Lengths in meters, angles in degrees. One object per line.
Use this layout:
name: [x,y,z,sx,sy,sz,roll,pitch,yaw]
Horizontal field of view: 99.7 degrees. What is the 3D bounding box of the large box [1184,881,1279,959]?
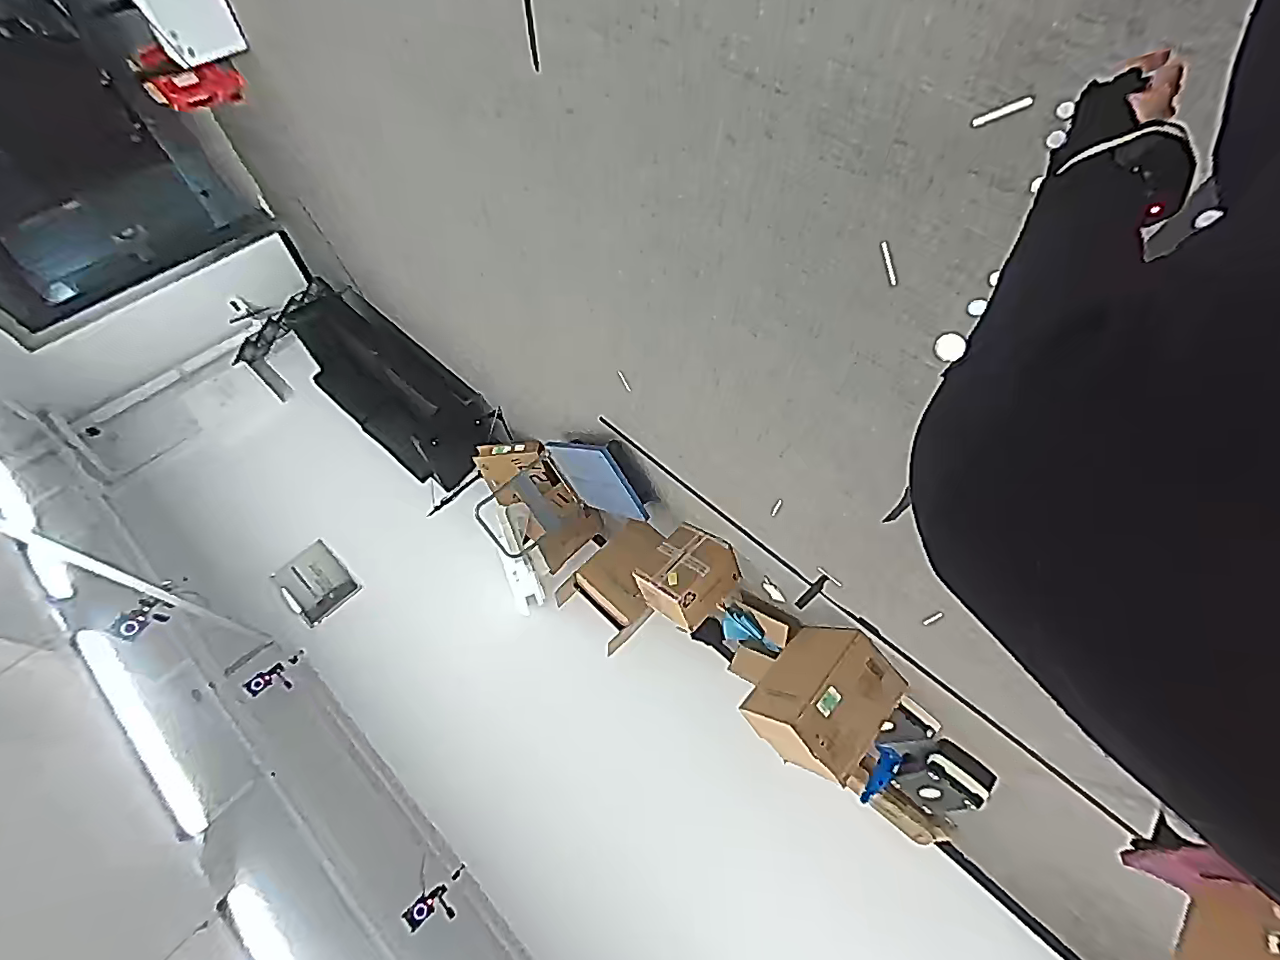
large box: [1.069,0.846,0.723,0.408,0.320,0.320,38,157,19]
